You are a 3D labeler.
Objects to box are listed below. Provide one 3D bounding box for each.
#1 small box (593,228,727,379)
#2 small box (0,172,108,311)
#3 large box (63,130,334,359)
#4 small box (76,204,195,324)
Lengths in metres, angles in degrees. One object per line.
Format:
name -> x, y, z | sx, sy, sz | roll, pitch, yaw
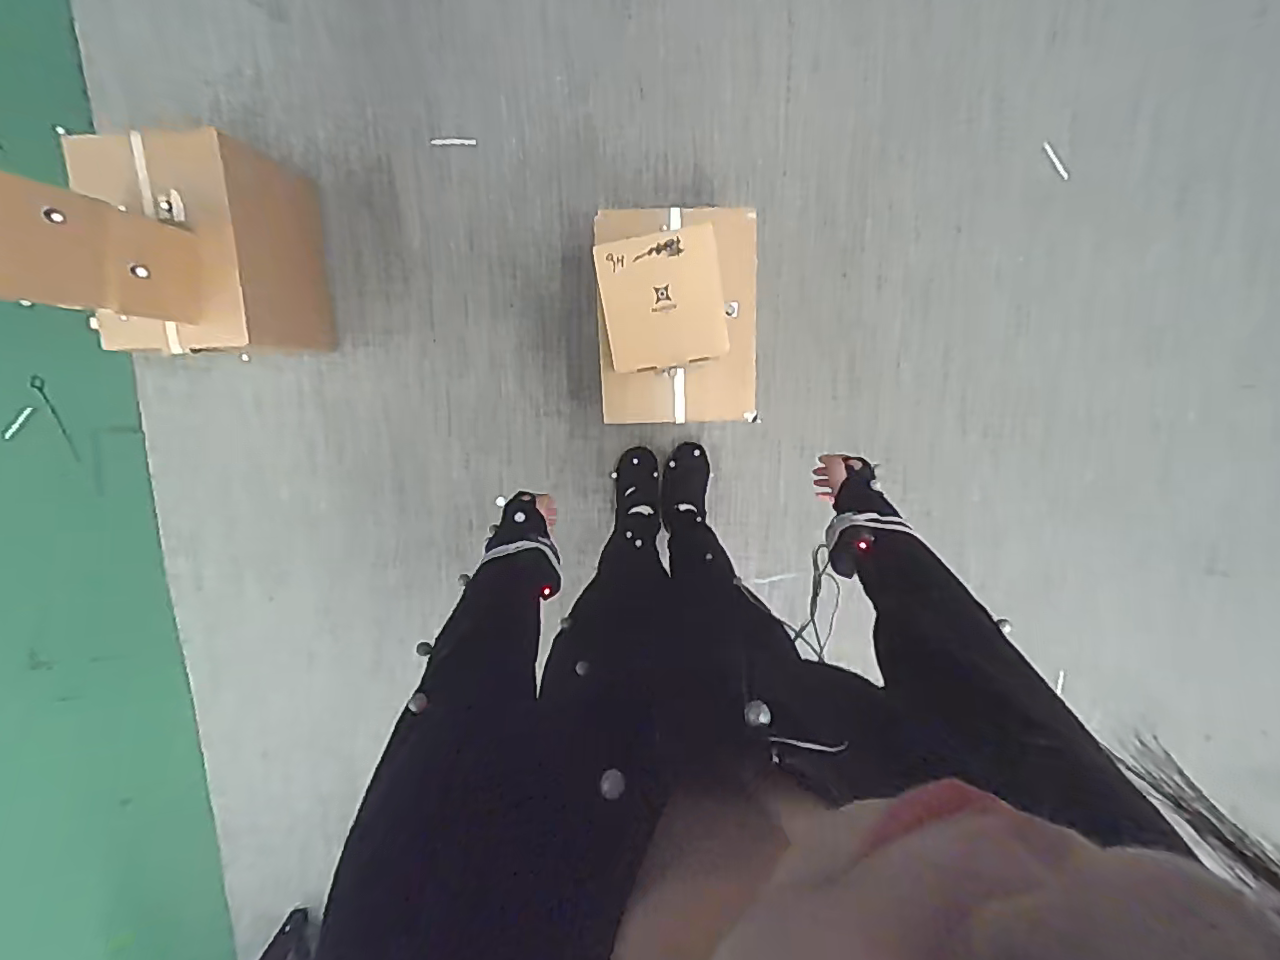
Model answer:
small box -> 0.034, -0.255, 0.811 | 0.168, 0.176, 0.179 | -9, 102, 5
small box -> -0.964, -0.369, 0.818 | 0.168, 0.176, 0.179 | 13, 102, 0
large box -> -0.941, -0.487, 1.207 | 0.320, 0.320, 0.408 | -1, 100, 2
small box -> -0.953, -0.391, 0.979 | 0.168, 0.176, 0.179 | 10, 102, 0
